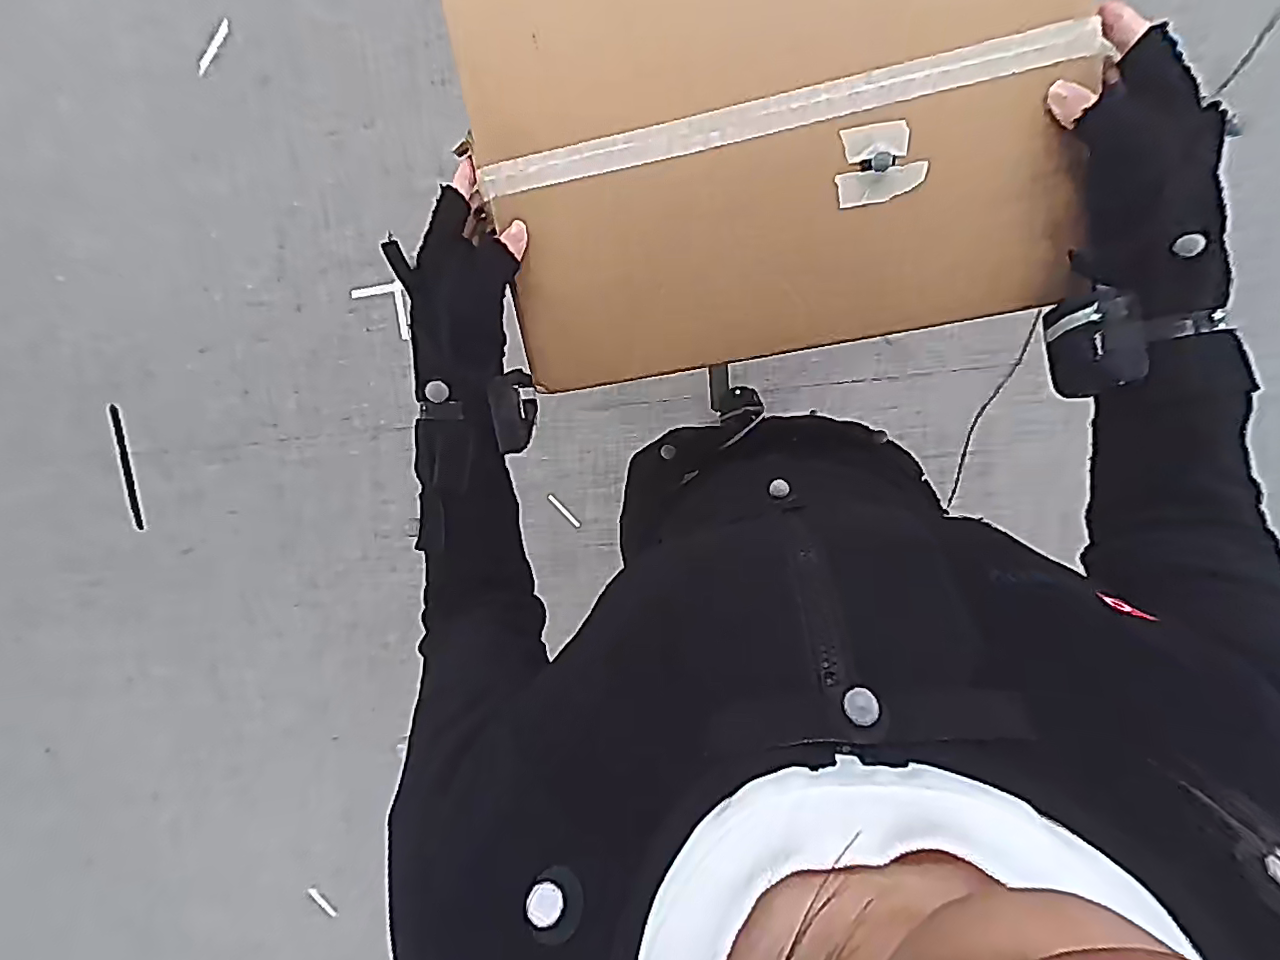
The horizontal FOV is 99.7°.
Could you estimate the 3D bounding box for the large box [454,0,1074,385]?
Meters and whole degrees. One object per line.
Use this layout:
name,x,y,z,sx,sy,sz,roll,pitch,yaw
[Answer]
large box,0.098,-0.295,0.521,0.408,0.320,0.320,-9,106,7
